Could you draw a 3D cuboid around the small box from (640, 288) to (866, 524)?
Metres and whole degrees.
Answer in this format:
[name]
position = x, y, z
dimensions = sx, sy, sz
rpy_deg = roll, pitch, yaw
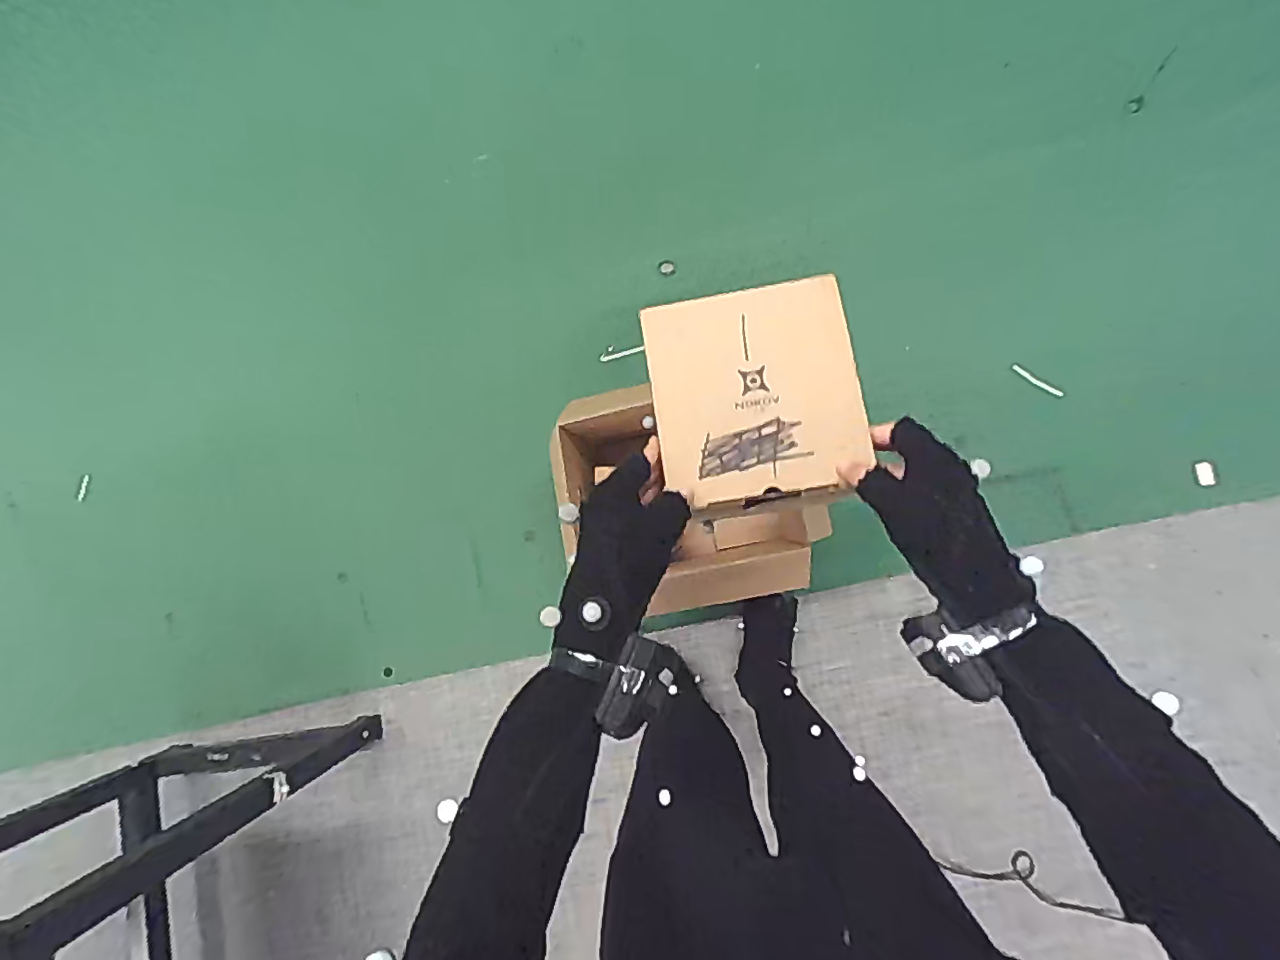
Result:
[small box]
position = 0.098, -0.053, 0.523
dimensions = 0.168, 0.176, 0.179
rpy_deg = -8, 79, 4
